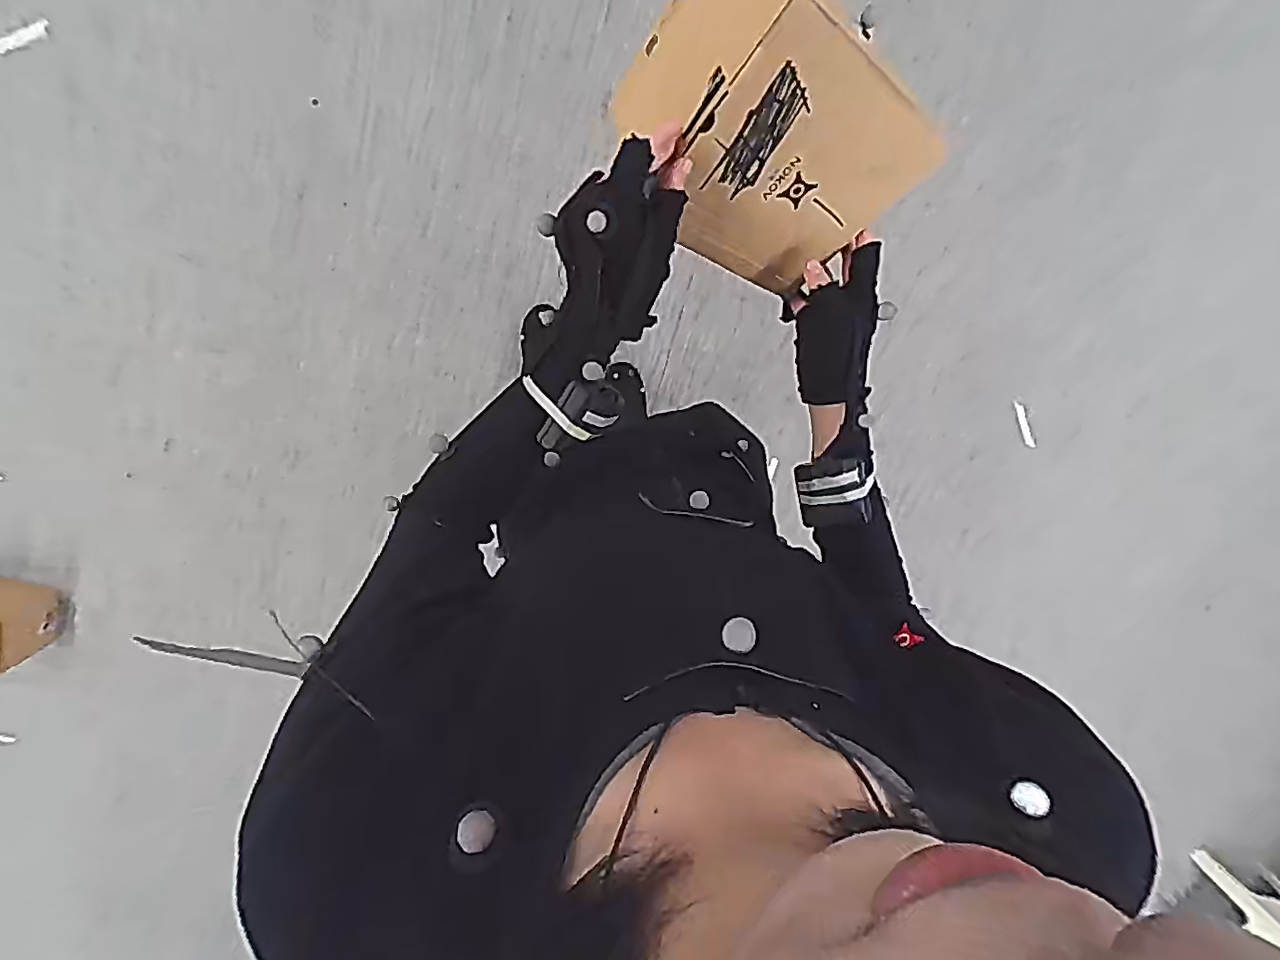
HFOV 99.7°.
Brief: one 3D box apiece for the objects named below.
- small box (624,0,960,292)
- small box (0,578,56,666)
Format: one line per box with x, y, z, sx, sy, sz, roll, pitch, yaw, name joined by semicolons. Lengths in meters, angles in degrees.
0.104;-0.294;0.433;0.179;0.176;0.168;12;145;-34;small box
-1.663;0.363;1.374;0.179;0.176;0.168;15;104;-11;small box
